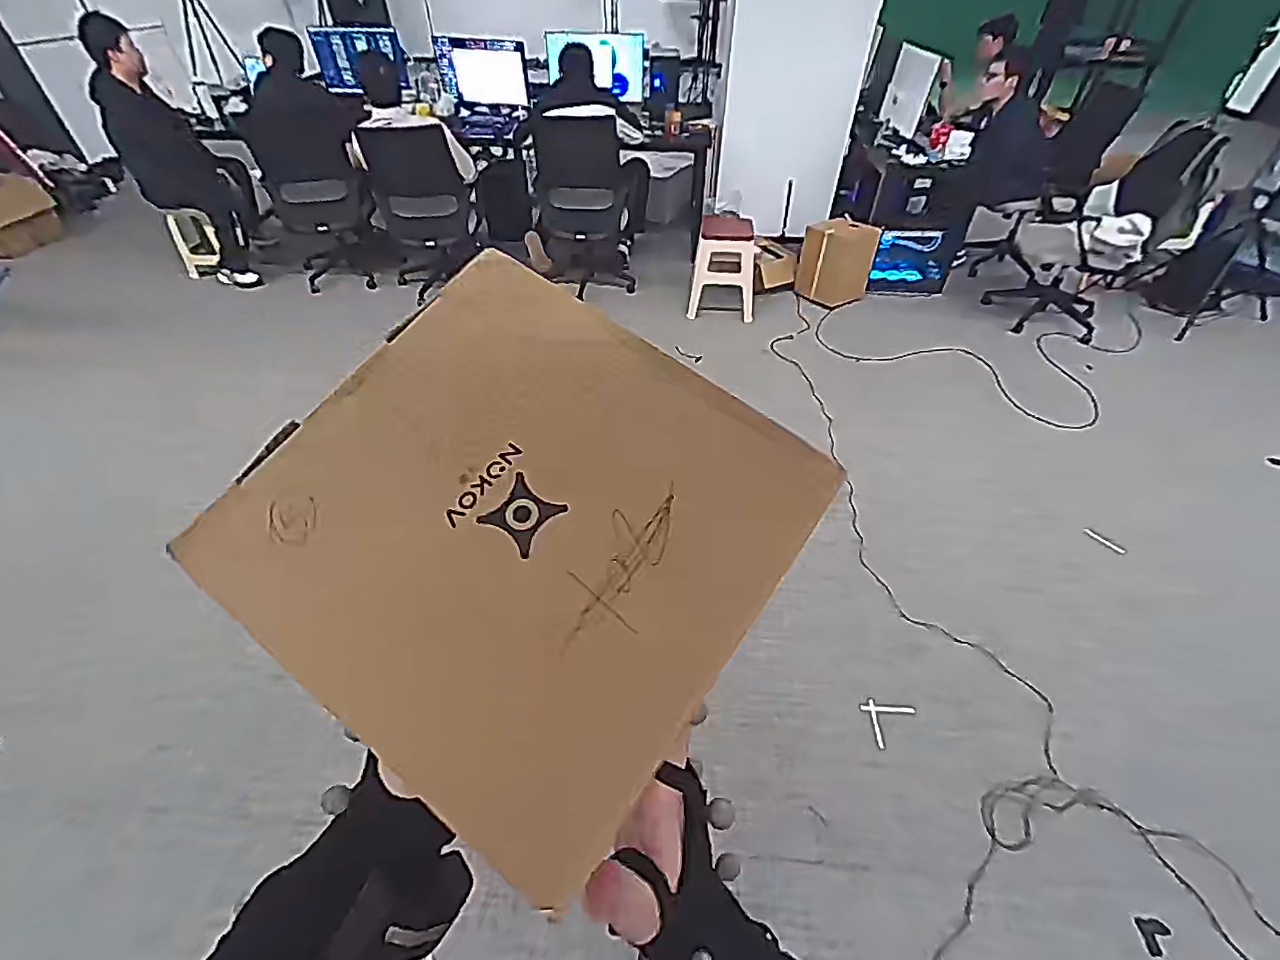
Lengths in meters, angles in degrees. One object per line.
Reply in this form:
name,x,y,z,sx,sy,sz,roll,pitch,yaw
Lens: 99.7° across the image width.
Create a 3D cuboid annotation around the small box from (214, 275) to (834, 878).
small box,-0.041,0.043,0.277,0.179,0.176,0.168,34,74,11
